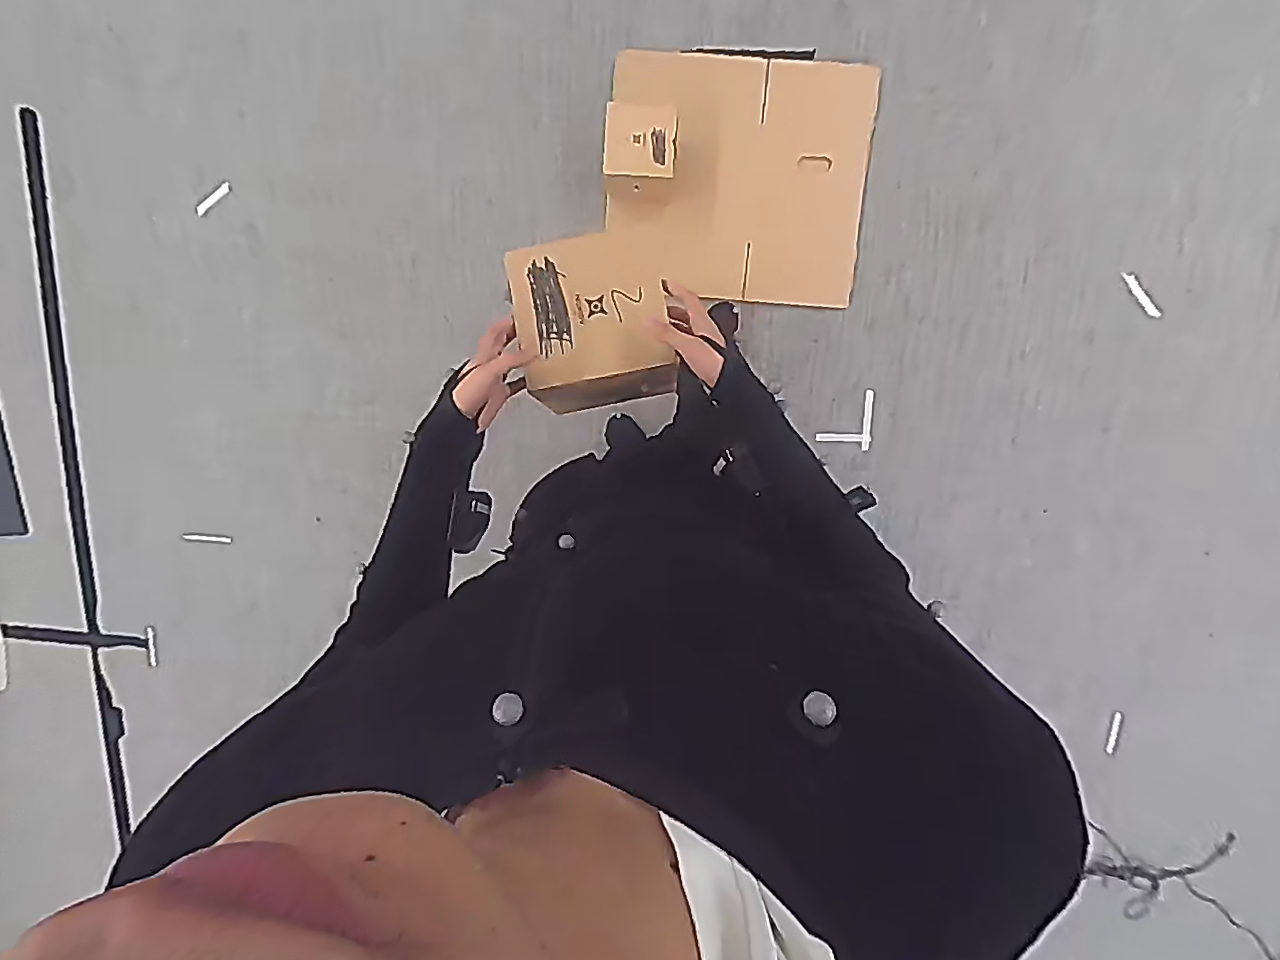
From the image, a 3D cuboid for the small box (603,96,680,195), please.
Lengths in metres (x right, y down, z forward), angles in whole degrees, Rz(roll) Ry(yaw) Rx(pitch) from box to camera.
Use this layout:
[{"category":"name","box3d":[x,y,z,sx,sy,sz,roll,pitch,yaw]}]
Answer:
[{"category":"small box","box3d":[0.005,-0.844,1.381,0.179,0.176,0.168,5,100,3]}]
